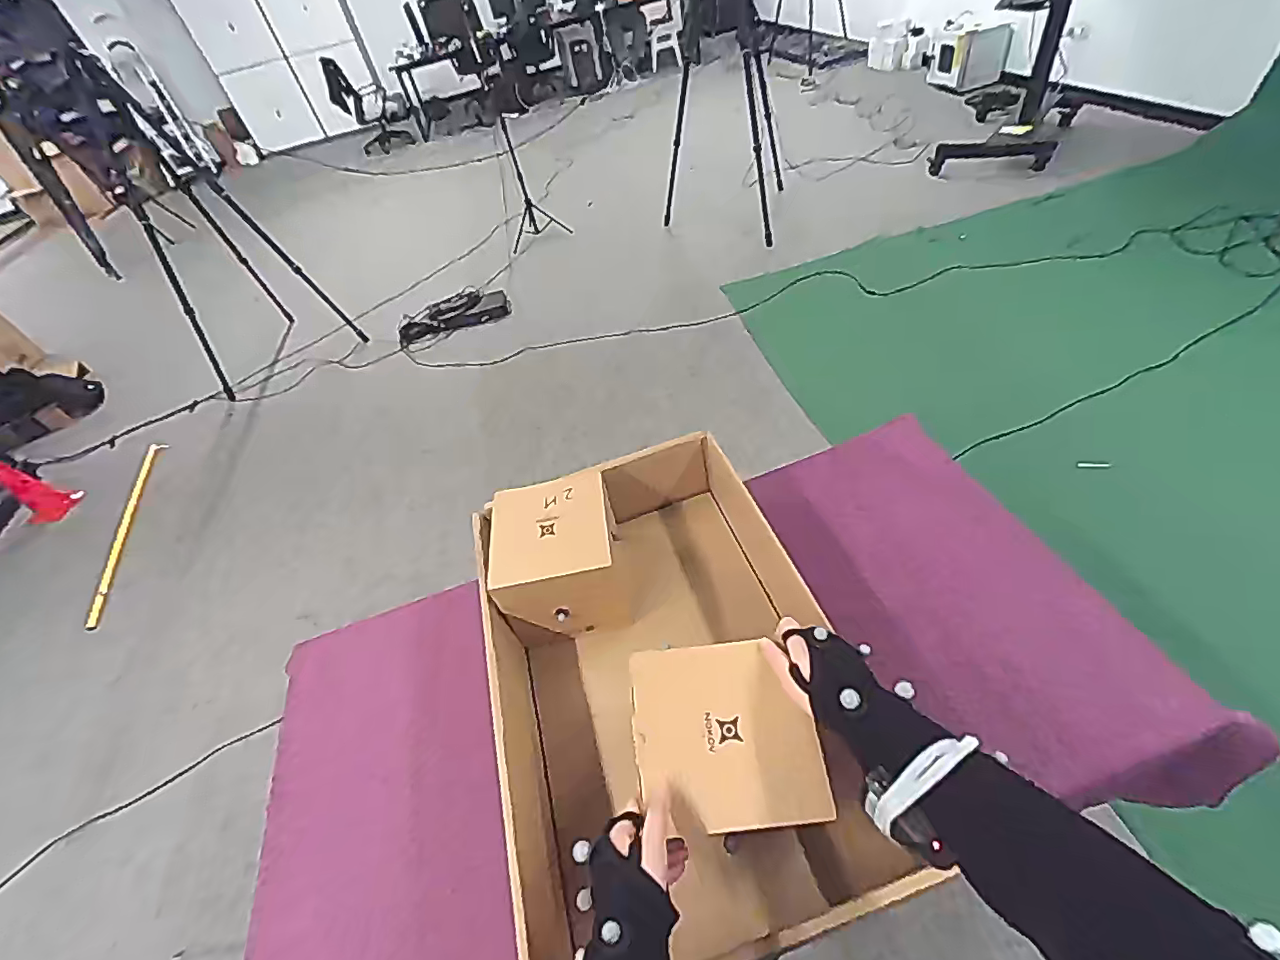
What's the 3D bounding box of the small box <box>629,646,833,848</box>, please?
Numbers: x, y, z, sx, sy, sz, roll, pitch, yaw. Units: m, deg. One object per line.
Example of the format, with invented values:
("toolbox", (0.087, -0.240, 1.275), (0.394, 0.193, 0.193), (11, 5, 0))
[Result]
("small box", (0.090, 0.291, 0.592), (0.179, 0.176, 0.168), (-9, 59, 4))
